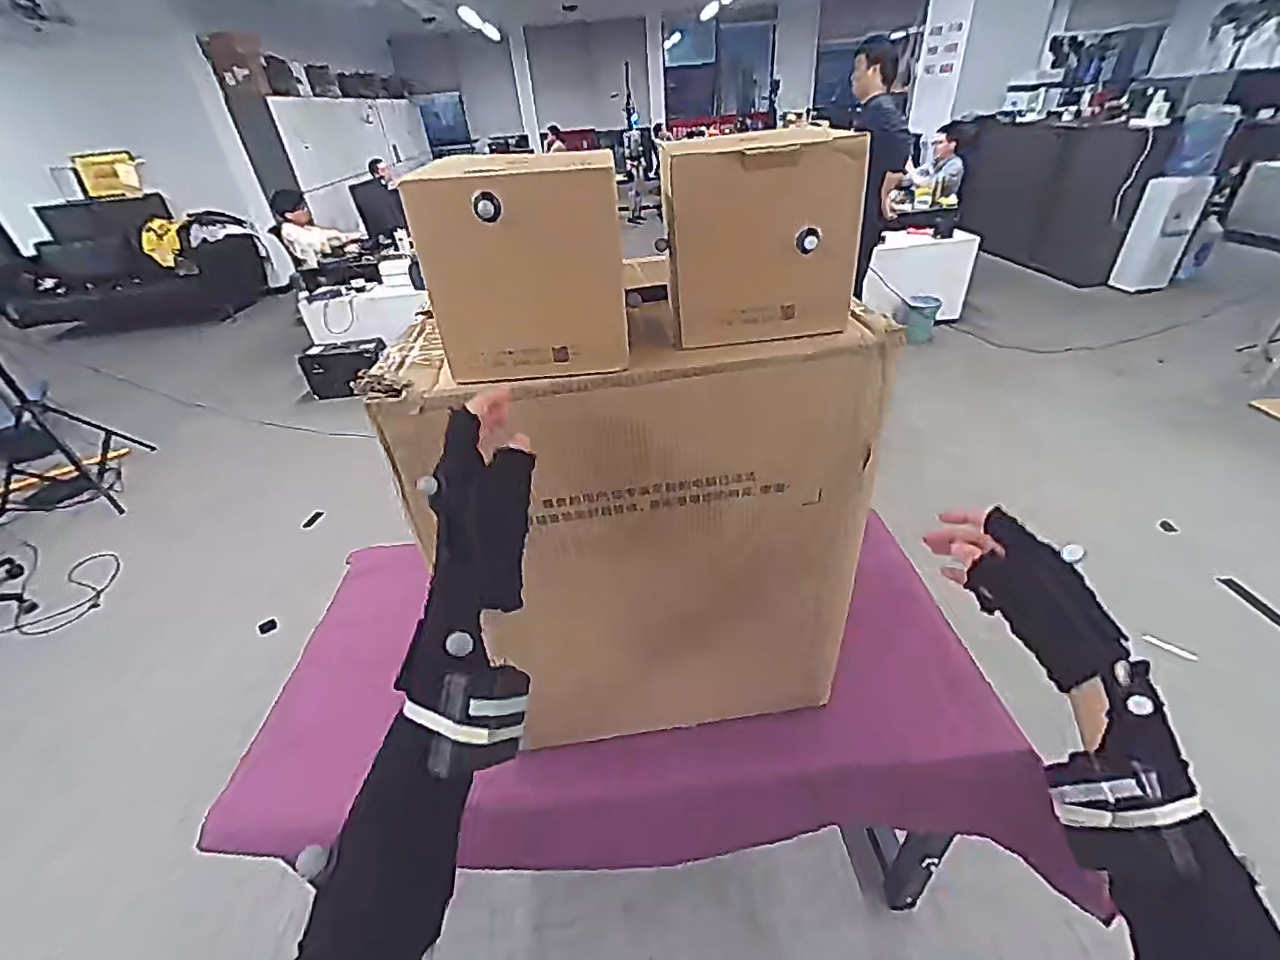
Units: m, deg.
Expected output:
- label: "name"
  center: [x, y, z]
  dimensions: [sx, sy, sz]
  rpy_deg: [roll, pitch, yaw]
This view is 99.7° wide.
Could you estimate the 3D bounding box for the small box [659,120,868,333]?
- label: "small box"
  center: [0.110, -0.255, 0.550]
  dimensions: [0.168, 0.176, 0.179]
  rpy_deg: [-5, 34, 1]
